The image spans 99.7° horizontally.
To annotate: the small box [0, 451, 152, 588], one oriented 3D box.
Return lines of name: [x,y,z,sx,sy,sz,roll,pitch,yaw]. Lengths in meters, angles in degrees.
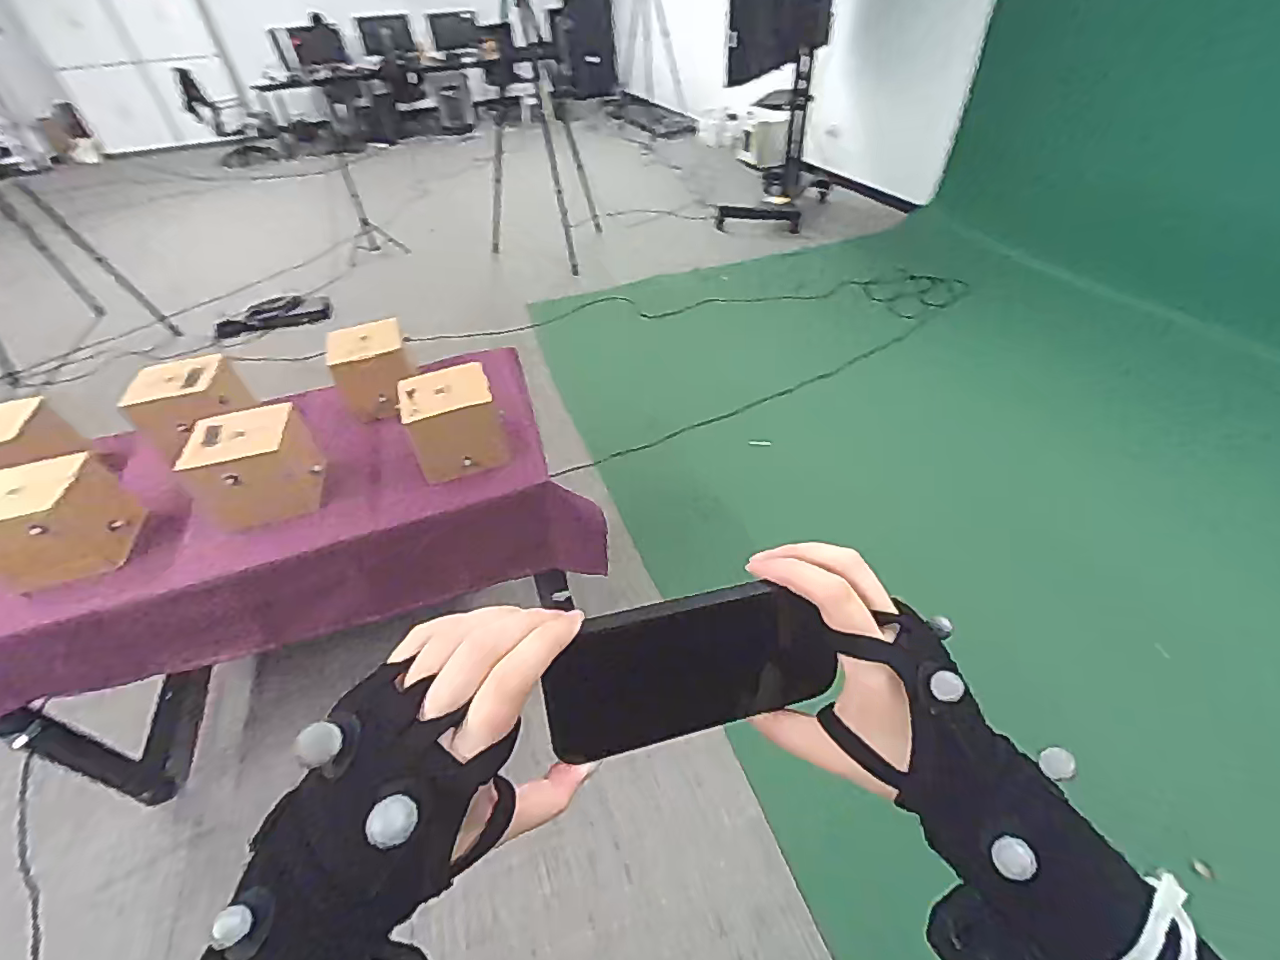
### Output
small box: [-1.087,0.076,1.013,0.179,0.176,0.168,-14,44,-12]

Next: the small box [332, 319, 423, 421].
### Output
small box: [-0.641,-0.273,1.340,0.168,0.176,0.179,-18,46,-13]

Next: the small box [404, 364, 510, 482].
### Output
small box: [-0.387,-0.122,1.161,0.179,0.176,0.168,-17,44,-13]

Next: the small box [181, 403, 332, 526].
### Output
small box: [-0.761,-0.029,1.096,0.179,0.176,0.168,-13,44,-10]
